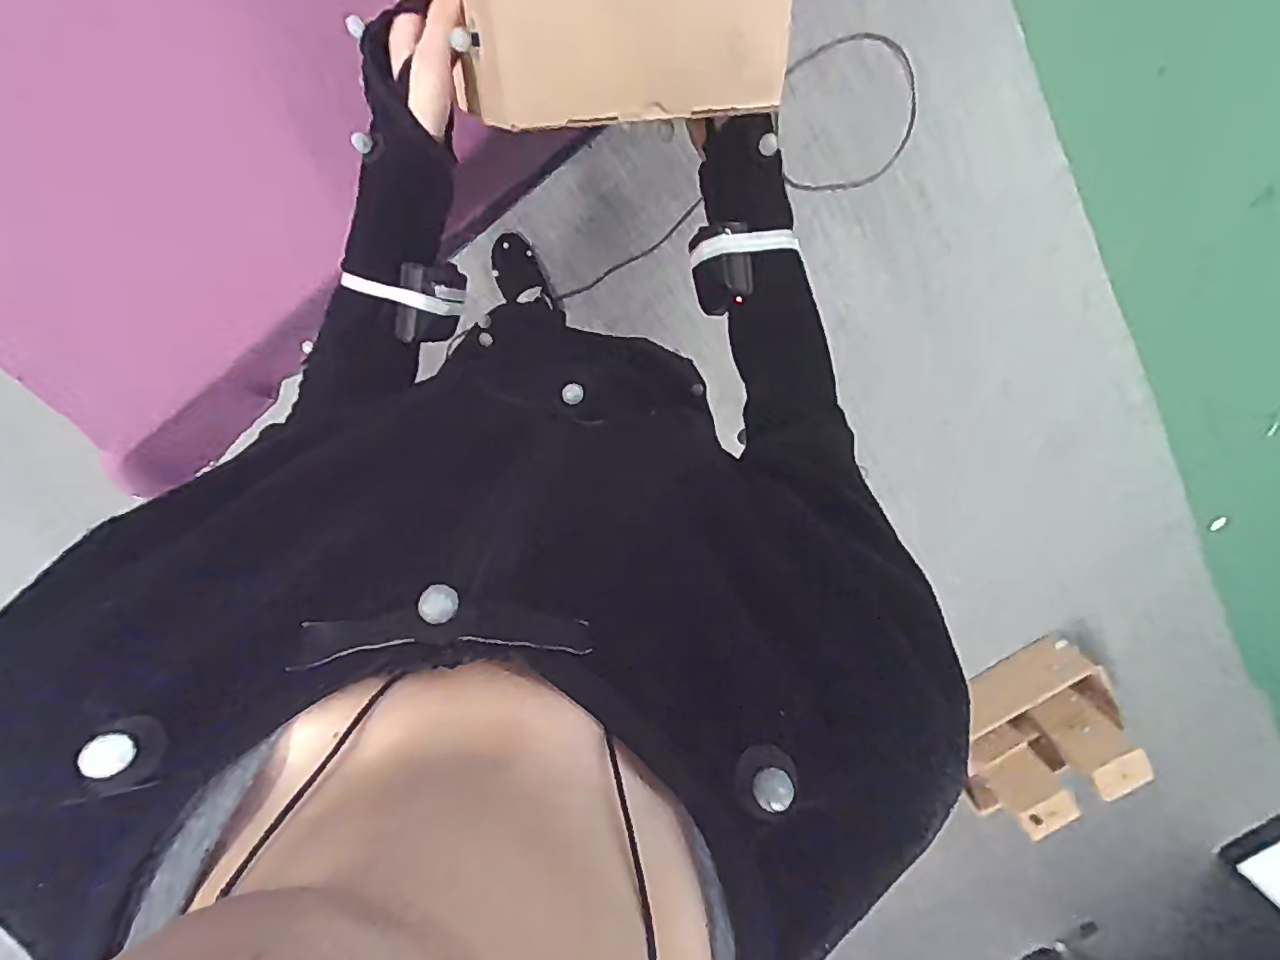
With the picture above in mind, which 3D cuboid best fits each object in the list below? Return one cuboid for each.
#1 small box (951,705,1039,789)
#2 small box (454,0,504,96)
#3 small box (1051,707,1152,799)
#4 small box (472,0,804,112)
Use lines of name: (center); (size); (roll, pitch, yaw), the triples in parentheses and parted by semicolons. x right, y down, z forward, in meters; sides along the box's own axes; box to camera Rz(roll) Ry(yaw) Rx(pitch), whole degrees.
small box: (1.269, 0.952, 1.941); (0.179, 0.176, 0.168); (-37, 109, 6)
small box: (-0.064, -0.415, 0.441); (0.179, 0.176, 0.168); (-11, 127, -15)
small box: (1.498, 0.884, 1.762); (0.168, 0.176, 0.179); (-33, 110, 6)
small box: (-0.013, -0.325, 0.315); (0.168, 0.176, 0.179); (-12, 127, -14)
